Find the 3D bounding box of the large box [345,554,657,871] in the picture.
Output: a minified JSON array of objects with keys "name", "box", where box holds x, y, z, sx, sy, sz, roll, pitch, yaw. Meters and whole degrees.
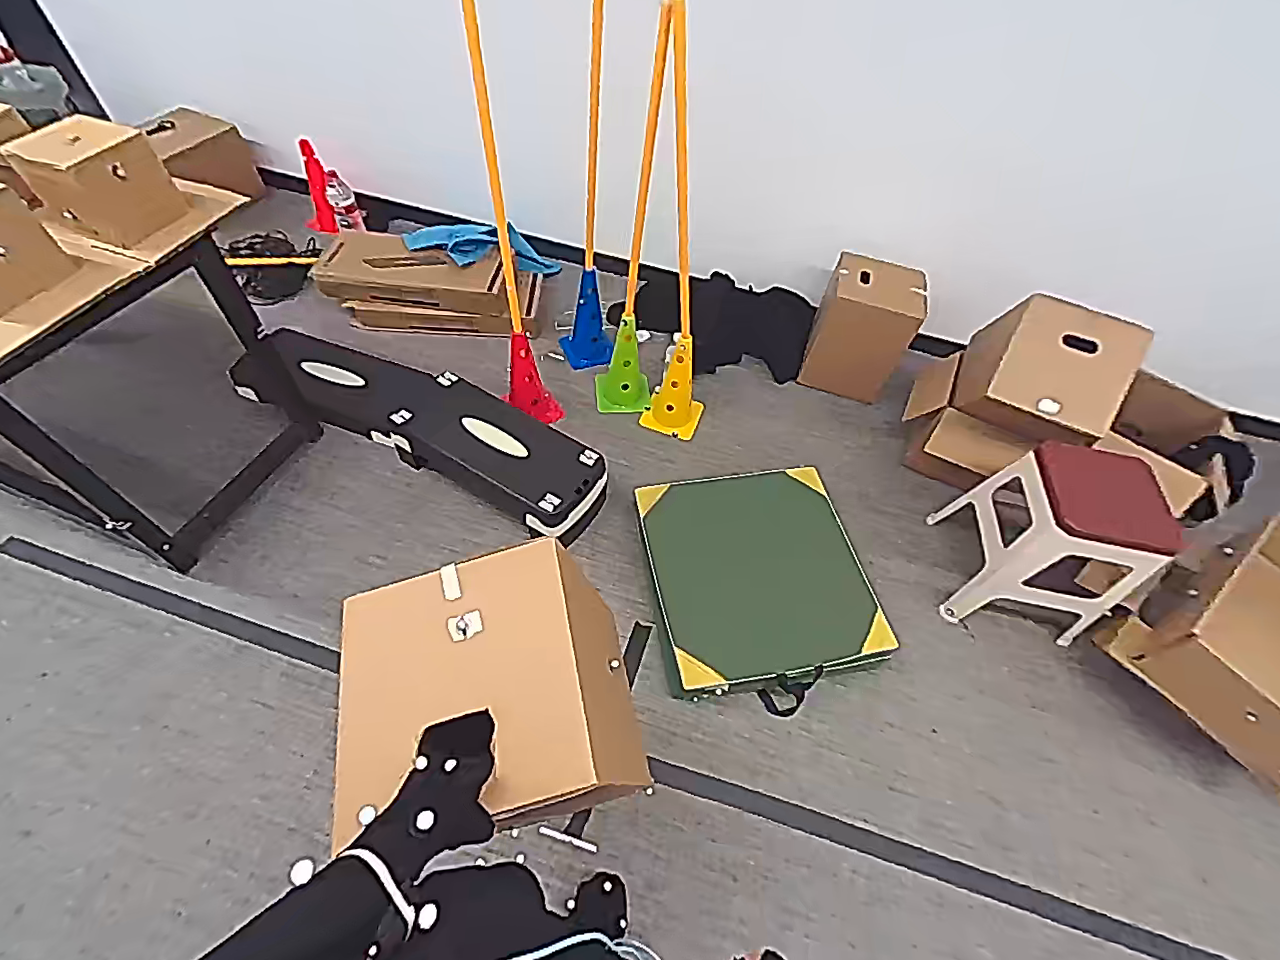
[{"name":"large box","box":[-0.189,0.356,0.840,0.320,0.408,0.320,-17,60,2]}]
